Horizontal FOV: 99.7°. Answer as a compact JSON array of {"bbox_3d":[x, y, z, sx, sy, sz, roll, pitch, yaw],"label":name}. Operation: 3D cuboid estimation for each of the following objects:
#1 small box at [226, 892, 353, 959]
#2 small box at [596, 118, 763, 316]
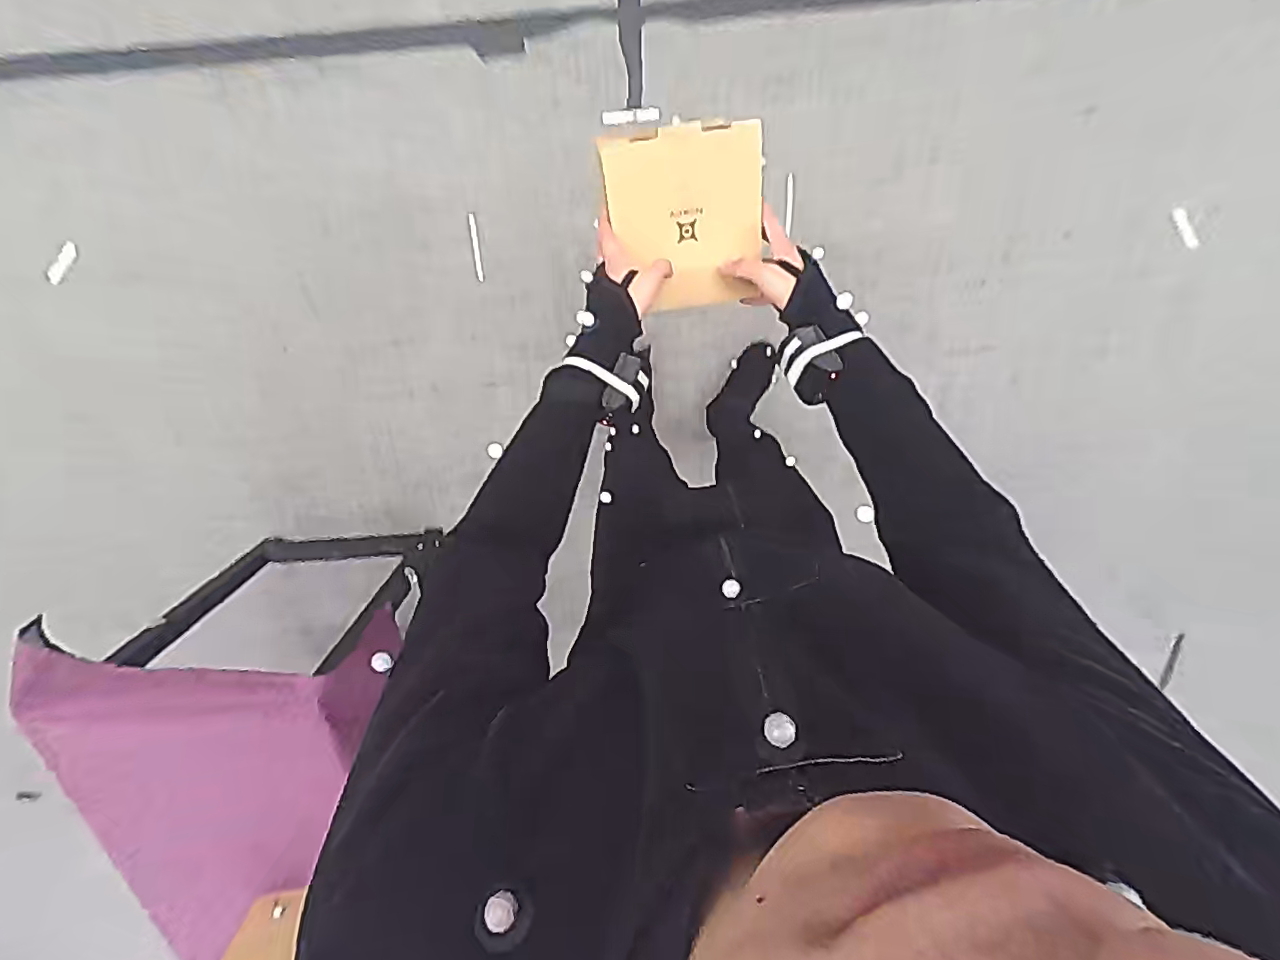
[{"bbox_3d":[-0.778,1.063,1.200,0.168,0.176,0.179,-13,111,5],"label":"small box"},{"bbox_3d":[0.043,-0.314,0.639,0.168,0.176,0.179,-9,122,0],"label":"small box"}]
